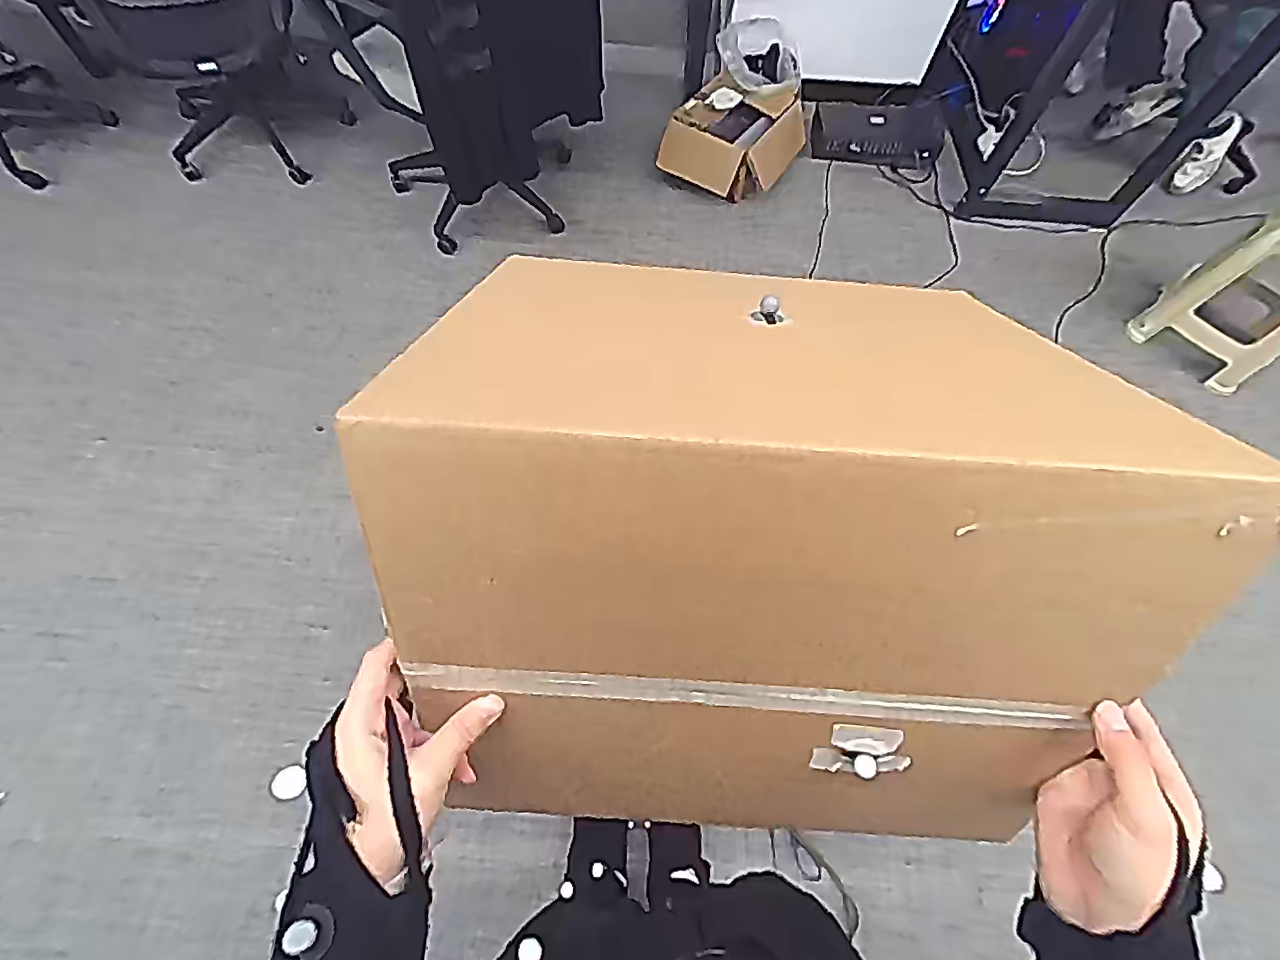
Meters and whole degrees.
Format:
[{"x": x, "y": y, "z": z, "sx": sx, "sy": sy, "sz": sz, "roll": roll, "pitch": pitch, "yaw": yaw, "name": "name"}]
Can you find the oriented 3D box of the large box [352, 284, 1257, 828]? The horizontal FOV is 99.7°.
[{"x": 0.066, "y": 0.038, "z": 0.438, "sx": 0.408, "sy": 0.320, "sz": 0.320, "roll": 3, "pitch": 34, "yaw": -1, "name": "large box"}]
